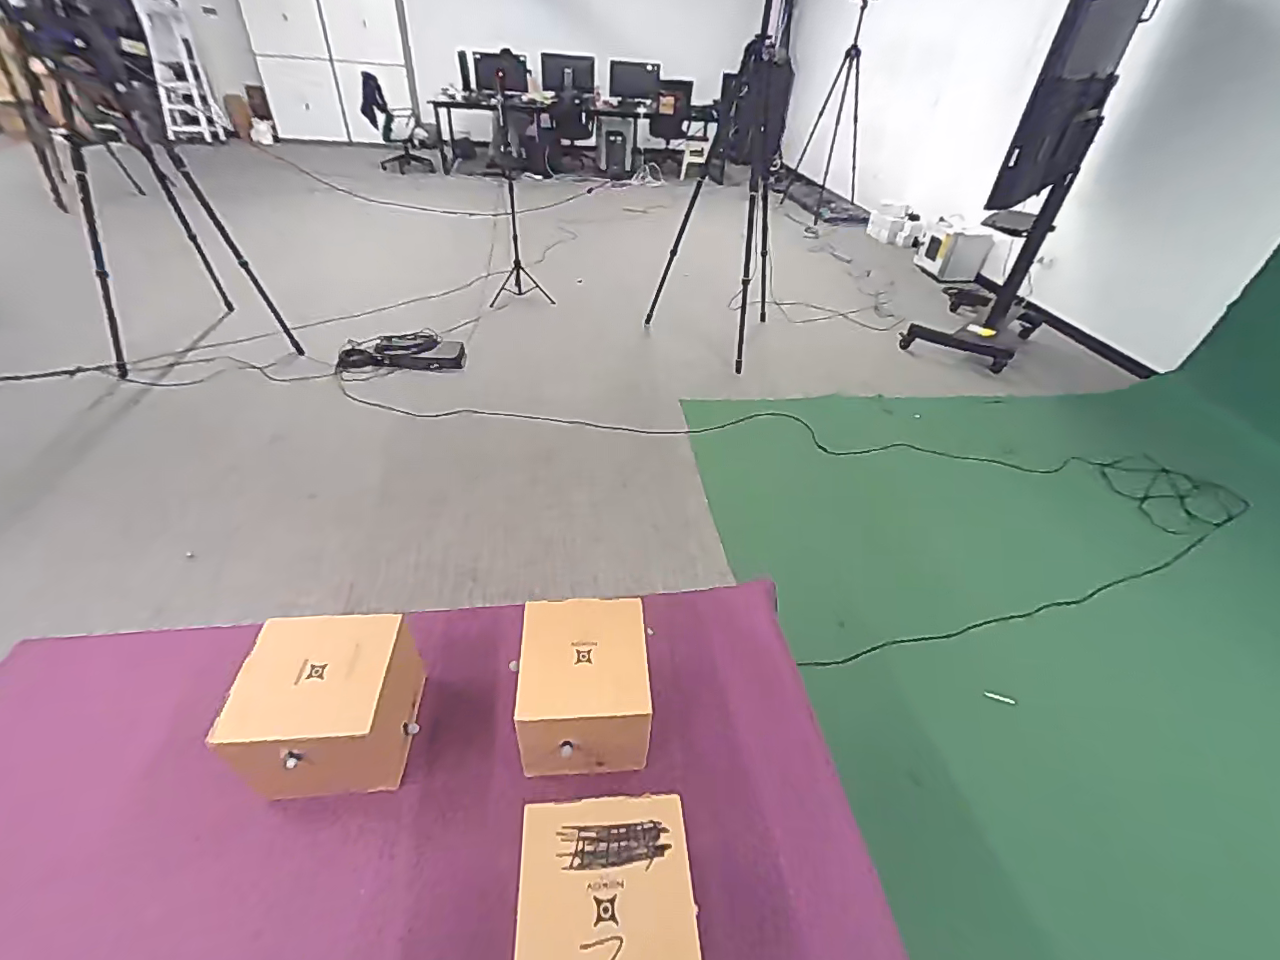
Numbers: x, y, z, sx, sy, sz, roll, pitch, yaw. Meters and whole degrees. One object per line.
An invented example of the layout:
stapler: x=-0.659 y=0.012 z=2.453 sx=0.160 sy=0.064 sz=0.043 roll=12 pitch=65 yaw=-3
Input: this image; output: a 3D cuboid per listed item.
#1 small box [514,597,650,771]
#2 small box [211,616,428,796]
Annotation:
small box: x=-0.075 y=0.288 z=0.756 sx=0.168 sy=0.176 sz=0.179 roll=-1 pitch=39 yaw=-5
small box: x=-0.401 y=0.300 z=0.717 sx=0.179 sy=0.176 sz=0.168 roll=0 pitch=40 yaw=-6
